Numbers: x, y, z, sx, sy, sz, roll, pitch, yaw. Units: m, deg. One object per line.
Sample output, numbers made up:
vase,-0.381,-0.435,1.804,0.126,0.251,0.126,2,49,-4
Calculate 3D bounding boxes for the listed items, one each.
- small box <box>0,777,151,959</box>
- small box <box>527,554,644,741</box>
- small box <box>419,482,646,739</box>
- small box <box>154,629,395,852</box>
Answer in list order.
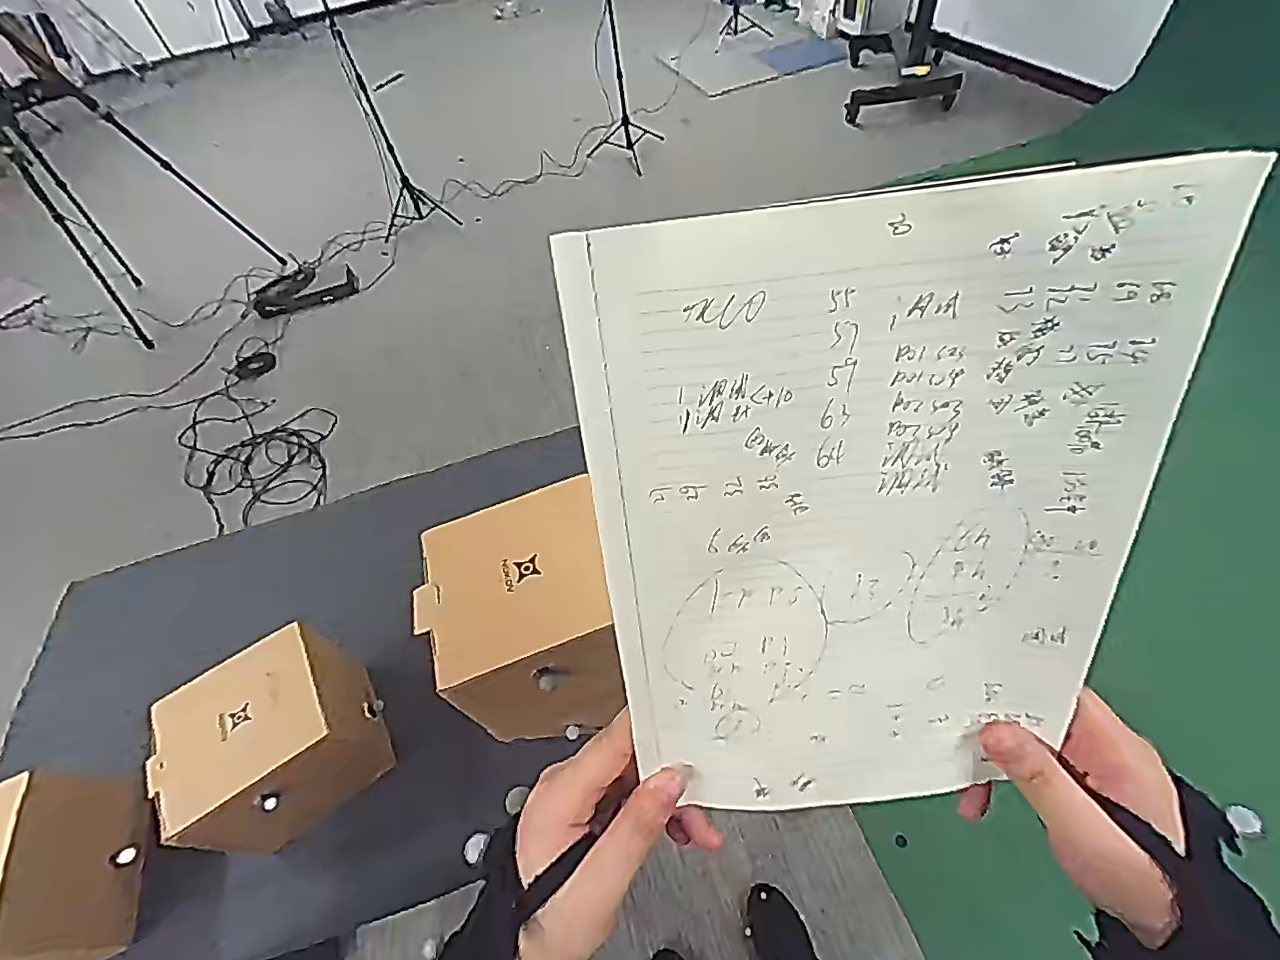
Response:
small box,-0.702,0.470,0.602,0.168,0.176,0.179,-23,53,-9
small box,-0.088,0.218,0.694,0.168,0.176,0.179,-8,52,4
small box,-0.100,0.137,0.552,0.179,0.176,0.168,-21,52,-6
small box,-0.443,0.327,0.672,0.179,0.176,0.168,-32,55,-16
